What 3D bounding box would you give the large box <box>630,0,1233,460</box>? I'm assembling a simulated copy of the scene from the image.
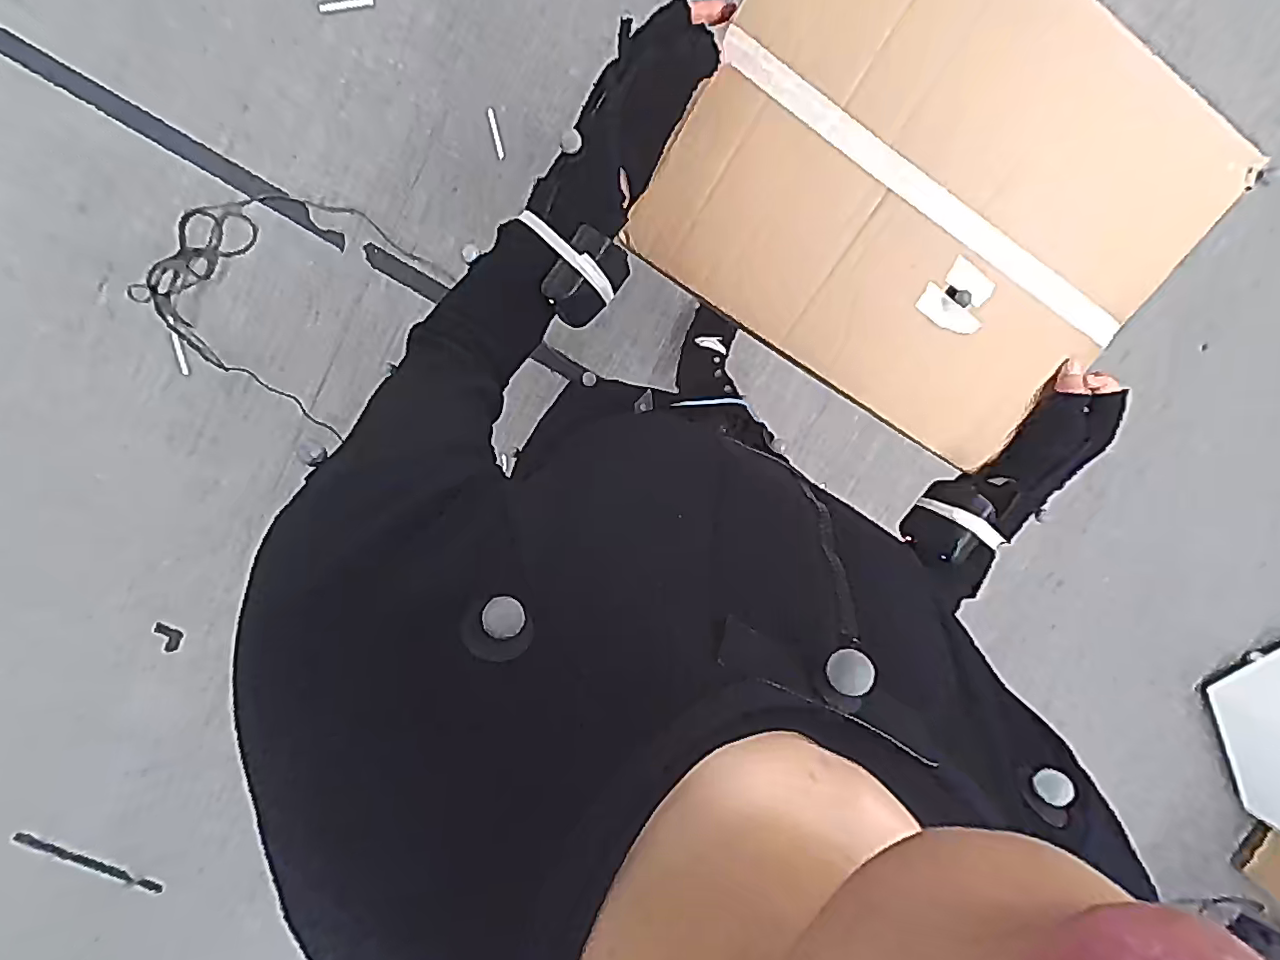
[{"bbox_3d":[0.233,-0.287,0.583,0.408,0.320,0.320,30,109,-12],"label":"large box"}]
